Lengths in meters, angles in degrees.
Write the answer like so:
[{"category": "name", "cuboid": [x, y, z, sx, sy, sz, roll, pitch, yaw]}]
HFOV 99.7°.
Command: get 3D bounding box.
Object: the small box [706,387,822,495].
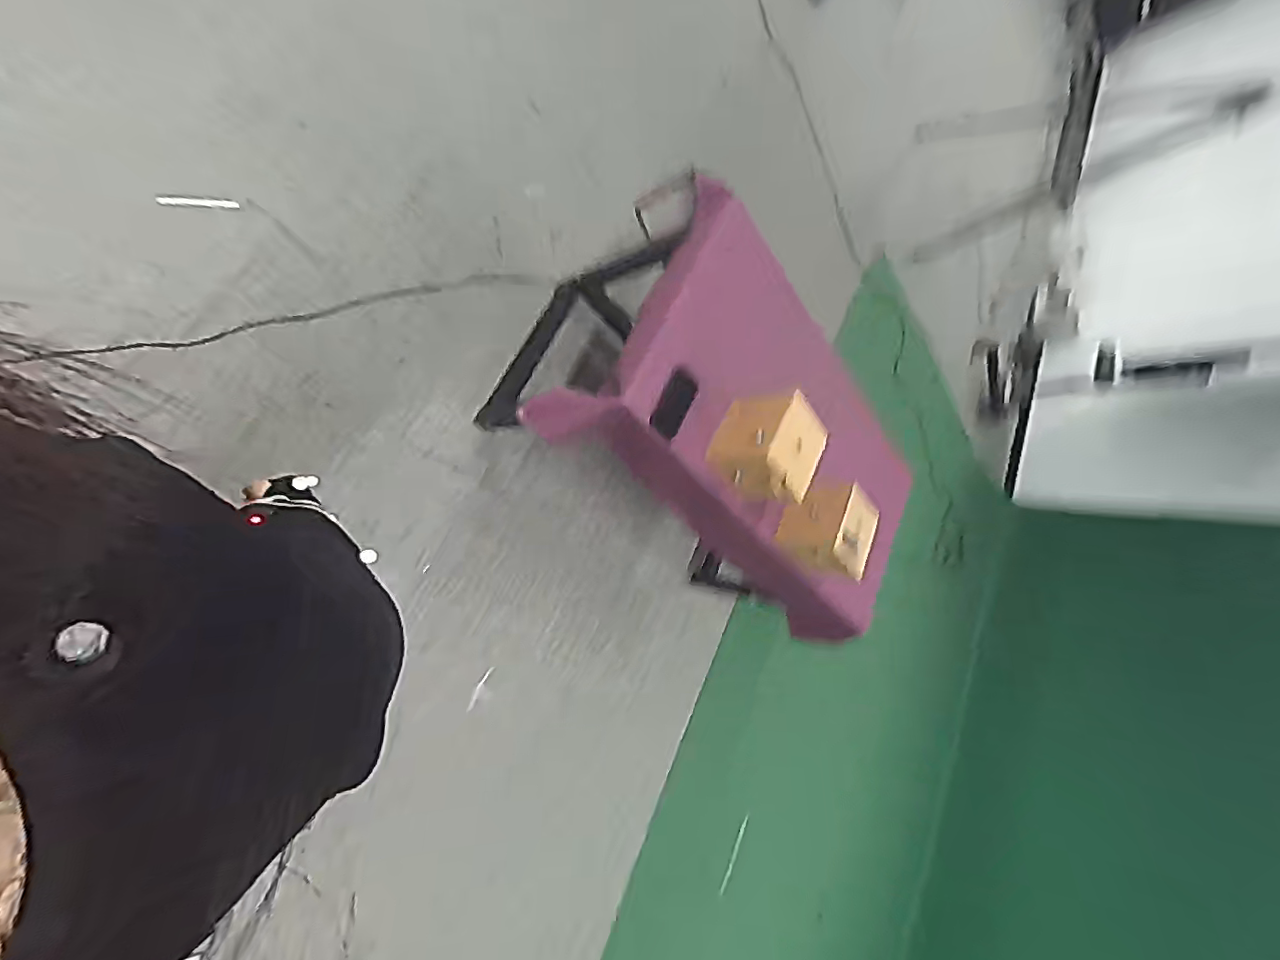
[{"category": "small box", "cuboid": [0.275, -0.085, 1.213, 0.168, 0.176, 0.179, 44, 64, -34]}]
